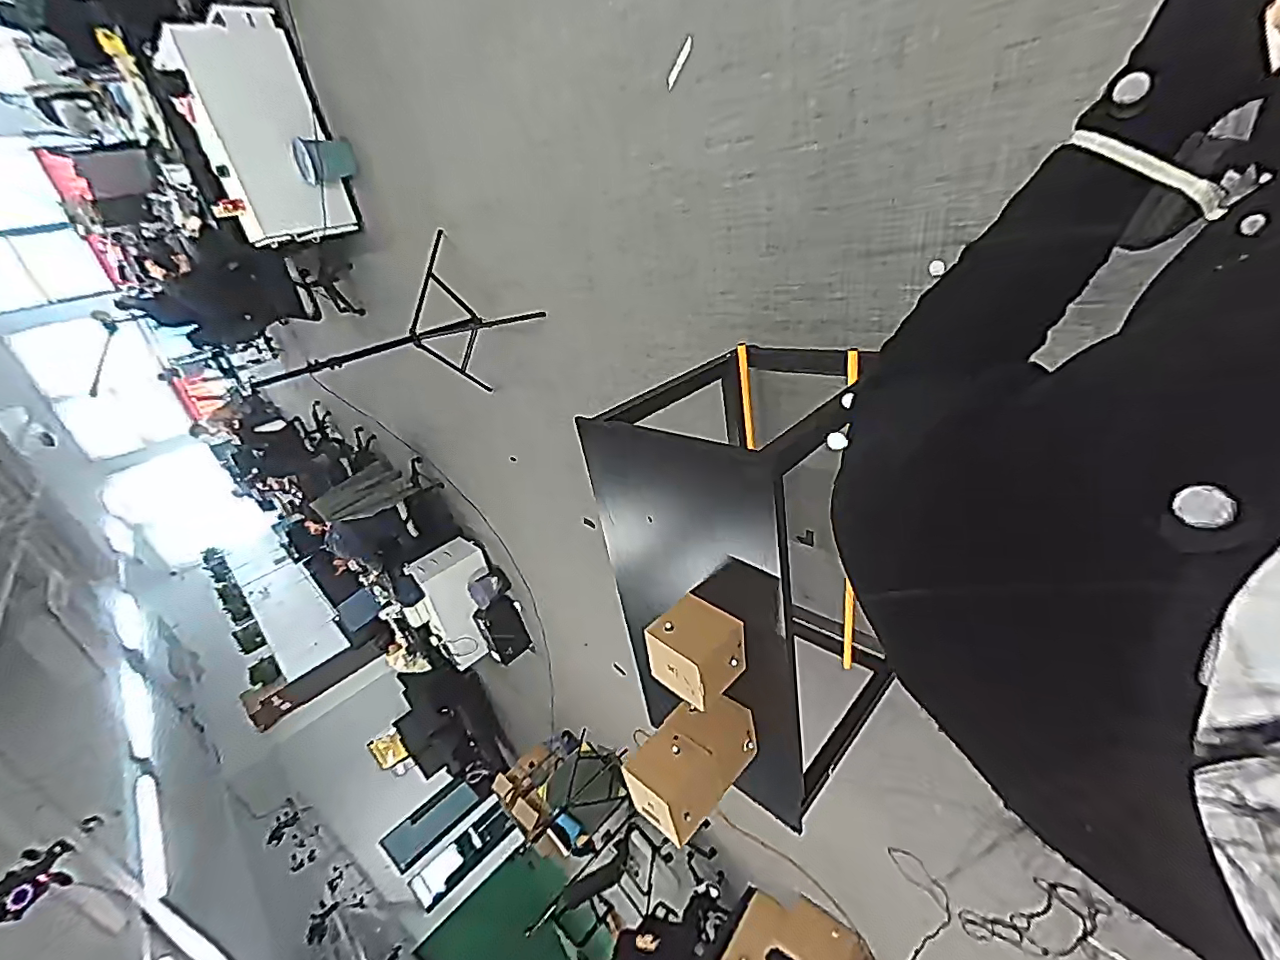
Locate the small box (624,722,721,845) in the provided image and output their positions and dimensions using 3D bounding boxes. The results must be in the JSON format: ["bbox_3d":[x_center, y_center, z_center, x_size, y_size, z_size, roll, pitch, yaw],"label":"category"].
[{"bbox_3d":[0.090,0.771,1.390,0.168,0.176,0.179,13,126,46],"label":"small box"}]

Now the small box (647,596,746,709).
[{"bbox_3d":[0.142,0.414,1.335,0.179,0.176,0.168,22,132,41],"label":"small box"}]

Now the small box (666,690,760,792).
[{"bbox_3d":[0.203,0.696,1.484,0.179,0.176,0.168,13,127,45],"label":"small box"}]
